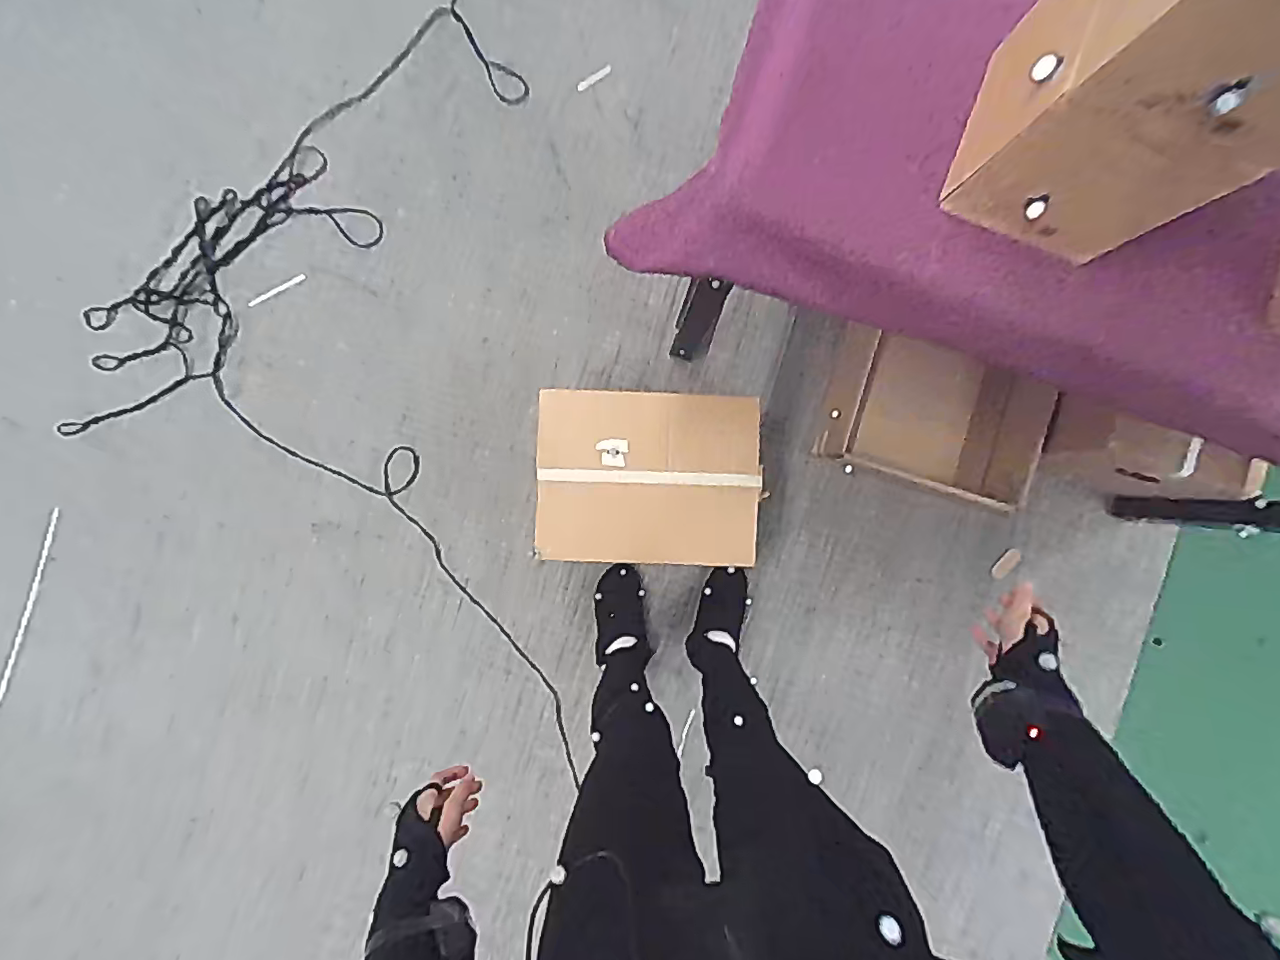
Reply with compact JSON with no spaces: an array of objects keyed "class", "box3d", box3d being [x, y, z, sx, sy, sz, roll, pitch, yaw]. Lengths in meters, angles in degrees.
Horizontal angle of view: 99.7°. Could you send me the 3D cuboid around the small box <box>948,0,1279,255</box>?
[{"class":"small box","box3d":[0.416,-0.338,0.481,0.168,0.176,0.179,20,89,-2]}]
